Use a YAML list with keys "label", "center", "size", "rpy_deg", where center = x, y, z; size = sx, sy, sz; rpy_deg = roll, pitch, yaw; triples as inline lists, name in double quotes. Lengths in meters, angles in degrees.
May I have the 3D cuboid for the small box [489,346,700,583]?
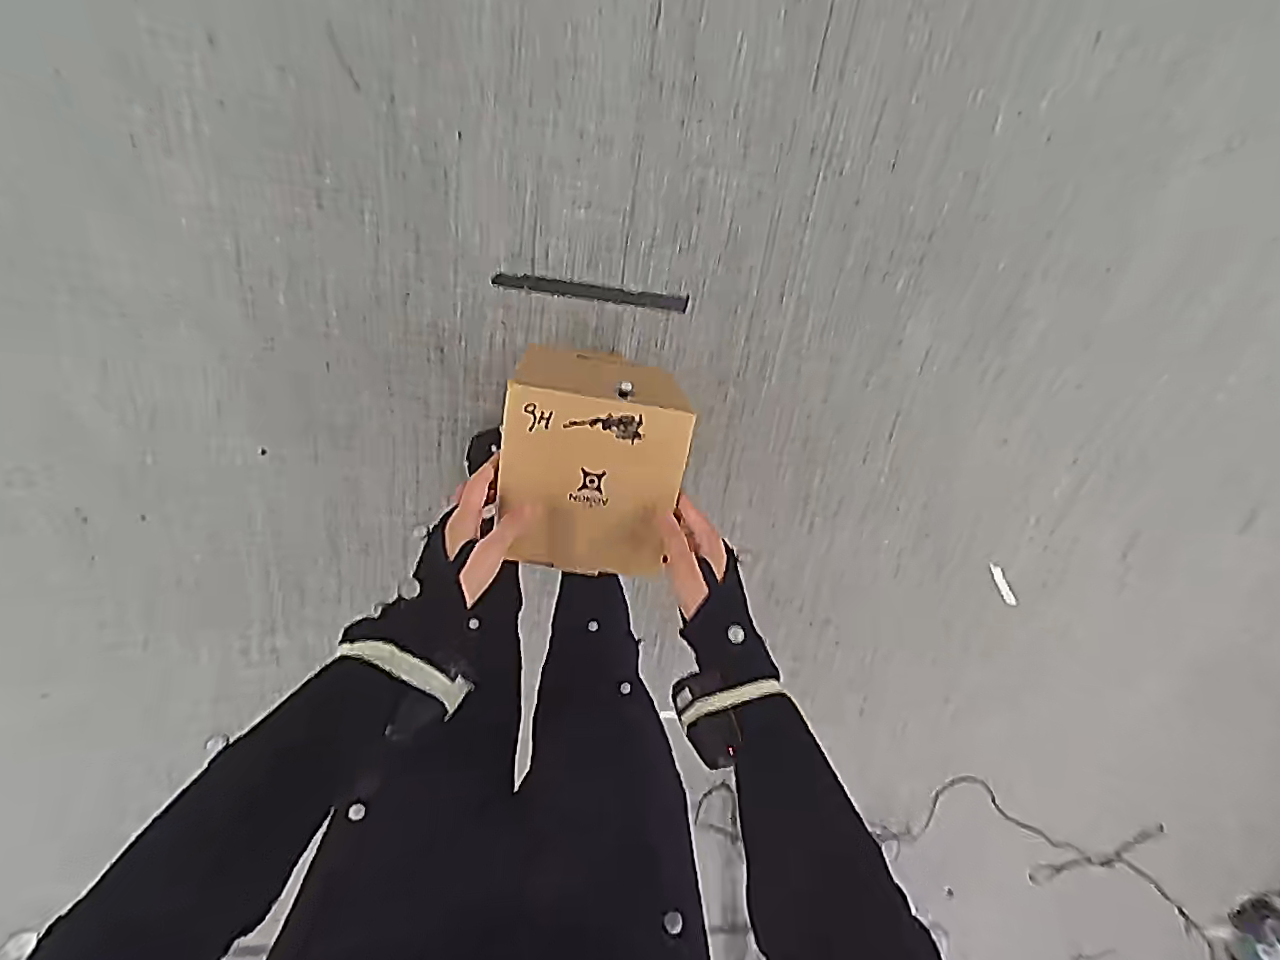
- label: "small box"
  center: [-0.051, -0.022, 0.553]
  size: [0.168, 0.176, 0.179]
  rpy_deg: [8, 115, -10]
